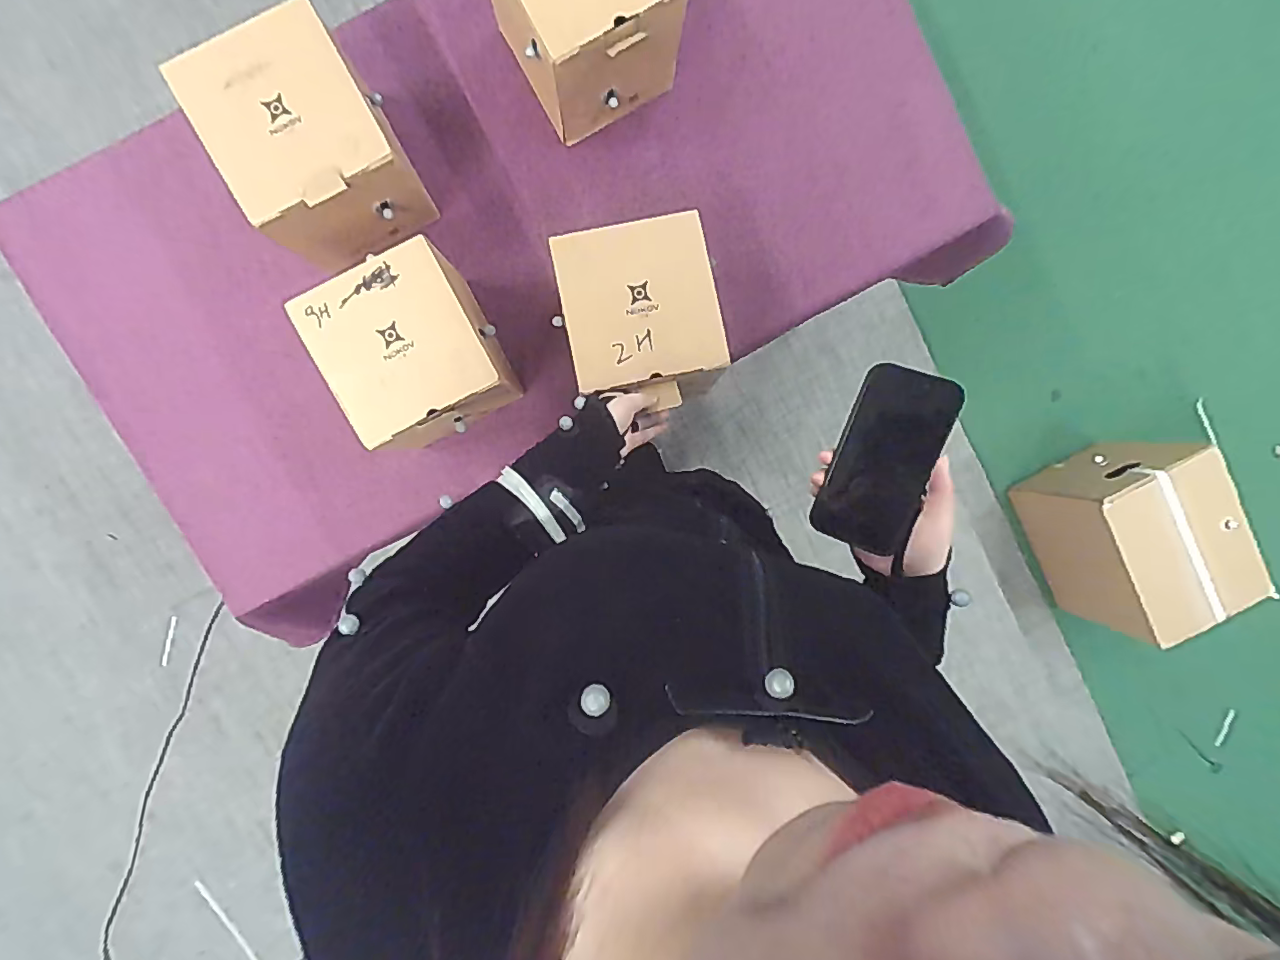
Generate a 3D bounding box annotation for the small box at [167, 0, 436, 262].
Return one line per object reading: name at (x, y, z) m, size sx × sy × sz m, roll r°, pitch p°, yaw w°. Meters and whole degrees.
small box at (-0.369, -0.379, 0.631) m, size 0.168 × 0.176 × 0.179 m, roll -28°, pitch 96°, yaw -1°

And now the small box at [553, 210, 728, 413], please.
small box at (-0.003, -0.190, 0.657) m, size 0.168 × 0.176 × 0.179 m, roll -11°, pitch 90°, yaw -1°

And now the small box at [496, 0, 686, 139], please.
small box at (-0.066, -0.553, 0.632) m, size 0.168 × 0.176 × 0.179 m, roll -30°, pitch 96°, yaw 0°

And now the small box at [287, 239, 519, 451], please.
small box at (-0.264, -0.150, 0.654) m, size 0.168 × 0.176 × 0.179 m, roll -27°, pitch 96°, yaw -1°
